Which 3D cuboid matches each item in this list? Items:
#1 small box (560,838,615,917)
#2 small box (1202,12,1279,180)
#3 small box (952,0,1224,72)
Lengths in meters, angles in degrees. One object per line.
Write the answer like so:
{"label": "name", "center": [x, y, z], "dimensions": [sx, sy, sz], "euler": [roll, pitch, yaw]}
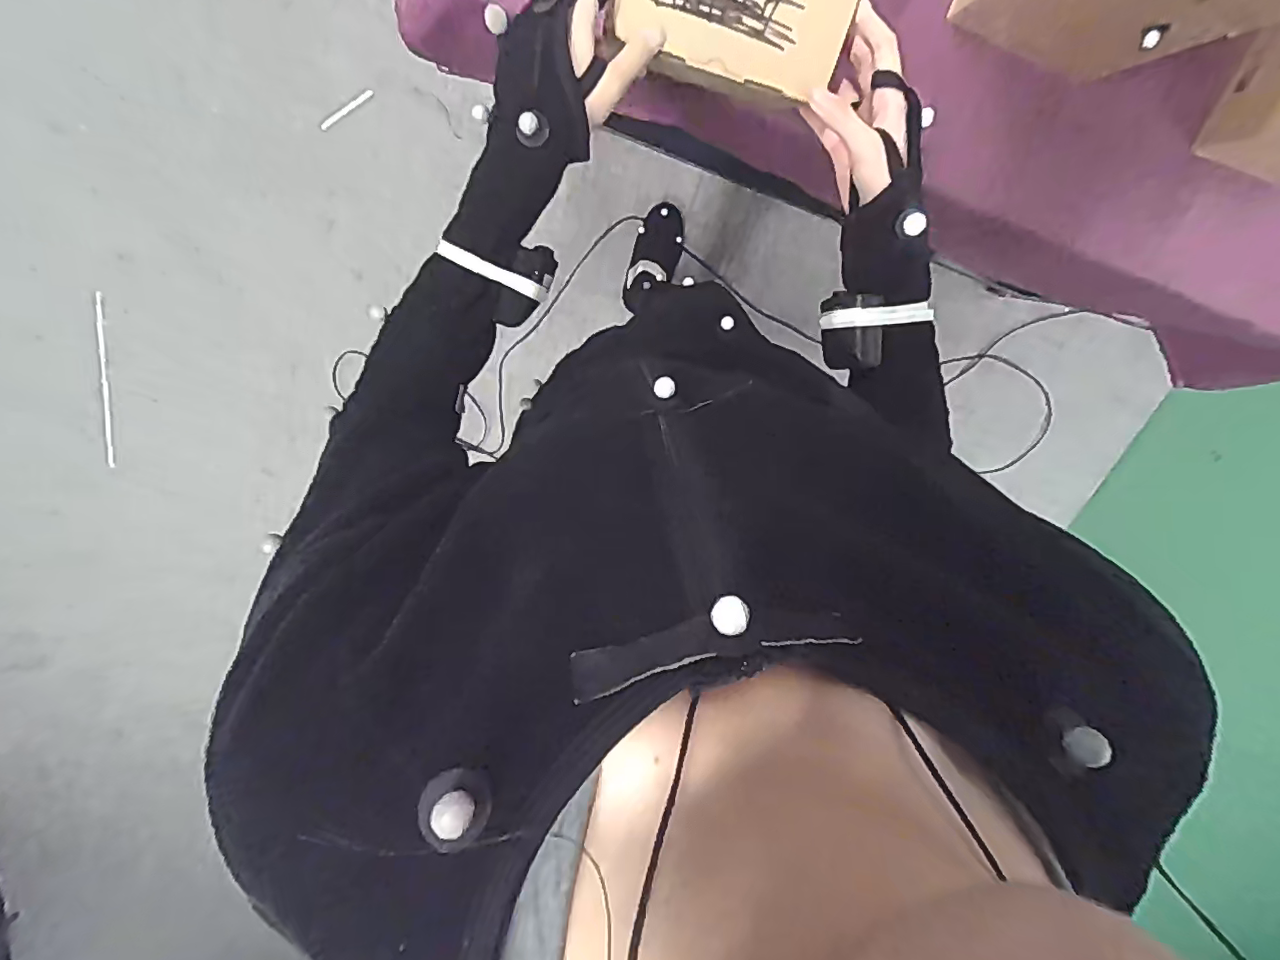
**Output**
{"label": "small box", "center": [-0.196, 1.521, 2.072], "dimensions": [0.168, 0.176, 0.179], "euler": [18, 111, -10]}
{"label": "small box", "center": [0.731, -0.398, 0.520], "dimensions": [0.179, 0.176, 0.168], "euler": [15, 113, -6]}
{"label": "small box", "center": [0.423, -0.499, 0.474], "dimensions": [0.179, 0.176, 0.168], "euler": [17, 112, -9]}
